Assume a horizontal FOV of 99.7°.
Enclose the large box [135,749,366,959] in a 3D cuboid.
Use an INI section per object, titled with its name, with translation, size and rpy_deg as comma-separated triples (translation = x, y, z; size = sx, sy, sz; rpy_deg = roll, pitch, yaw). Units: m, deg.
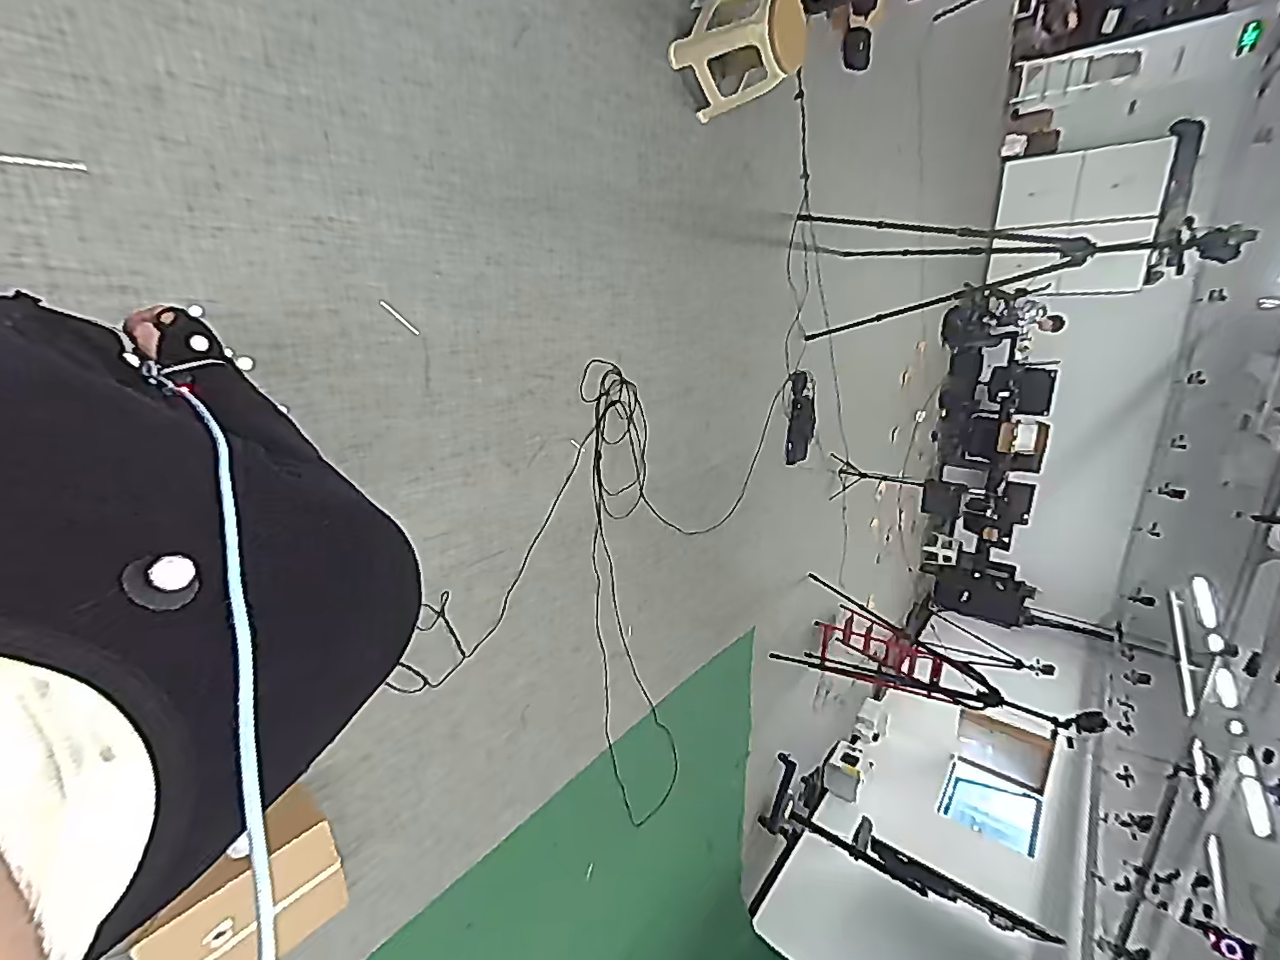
[large box]
translation = -1.036, 1.035, 1.464
size = 0.408, 0.320, 0.320
rpy_deg = -22, 116, -44
